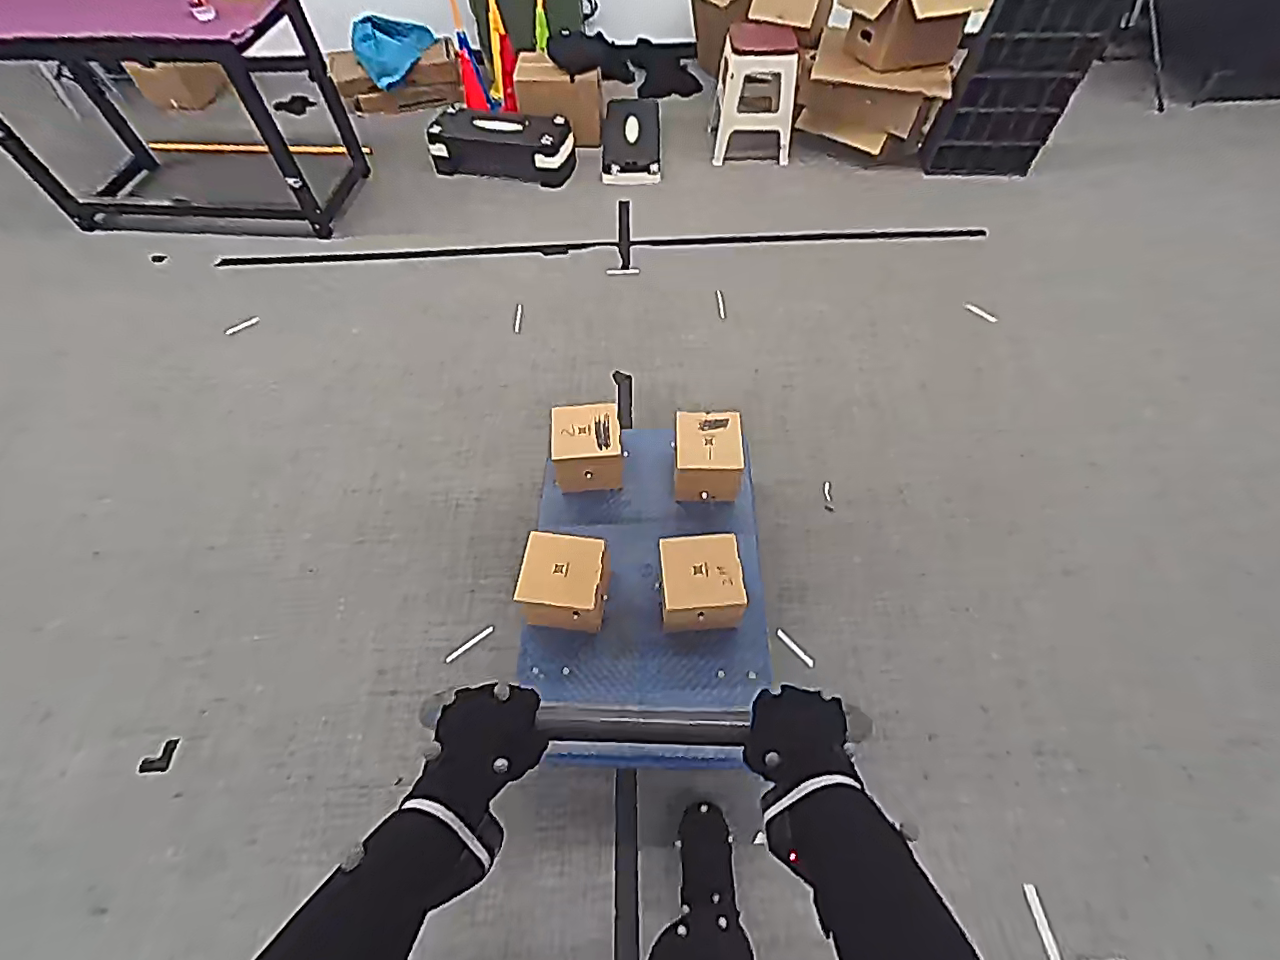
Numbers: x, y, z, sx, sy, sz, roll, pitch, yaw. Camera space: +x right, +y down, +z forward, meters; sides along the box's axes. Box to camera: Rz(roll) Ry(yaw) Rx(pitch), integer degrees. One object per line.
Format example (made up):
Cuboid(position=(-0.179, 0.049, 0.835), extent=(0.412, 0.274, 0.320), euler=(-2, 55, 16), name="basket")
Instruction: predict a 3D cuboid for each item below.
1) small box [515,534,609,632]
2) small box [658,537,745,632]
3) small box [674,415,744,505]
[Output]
Cuboid(position=(-0.172, 0.243, 1.254), extent=(0.179, 0.176, 0.168), euler=(7, 58, 3), name="small box")
Cuboid(position=(0.135, 0.246, 1.248), extent=(0.179, 0.176, 0.168), euler=(-4, 58, -1), name="small box")
Cuboid(position=(0.177, -0.052, 1.432), extent=(0.168, 0.176, 0.179), euler=(1, 59, 2), name="small box")
